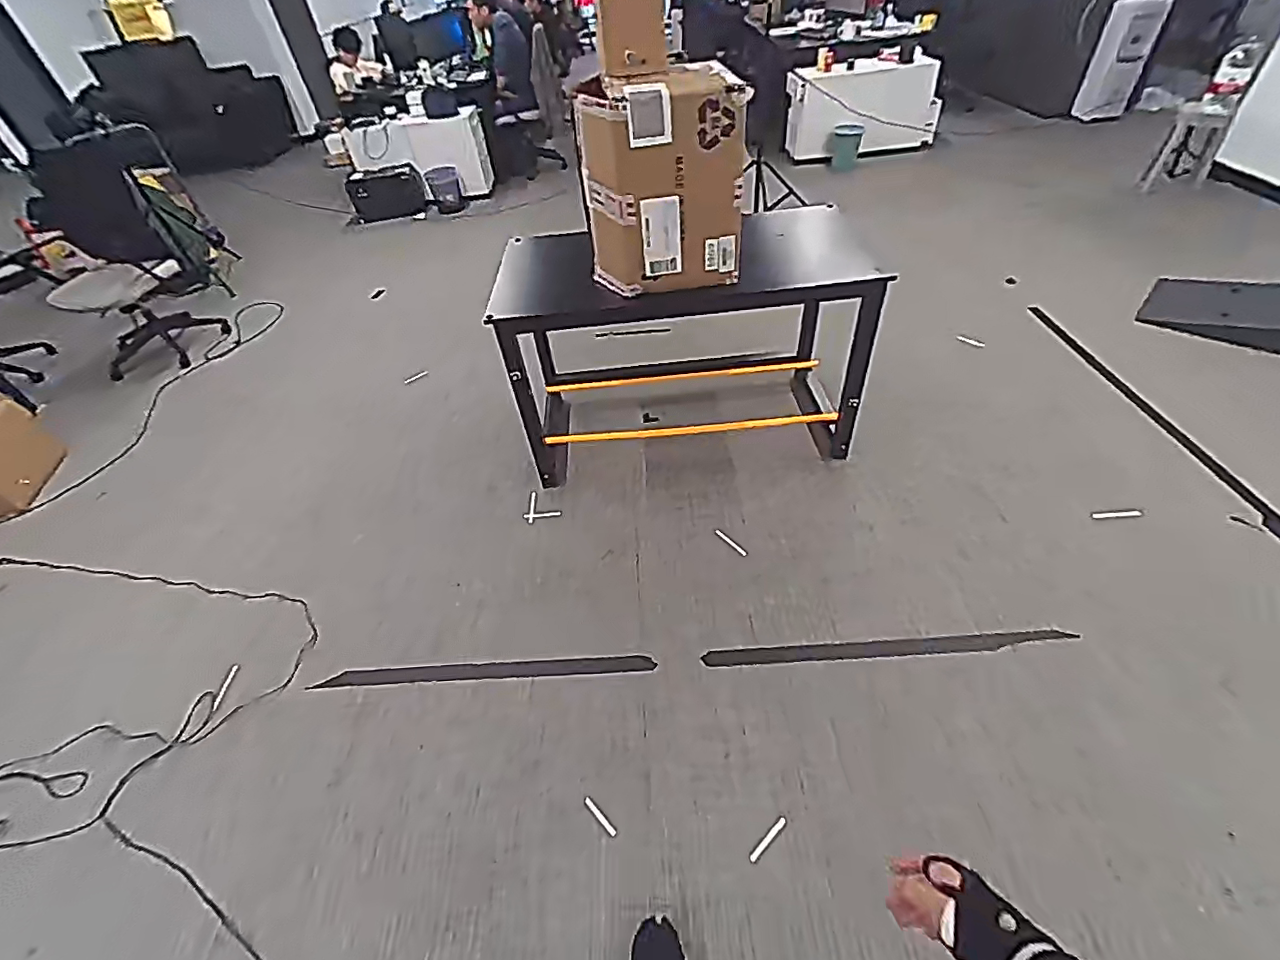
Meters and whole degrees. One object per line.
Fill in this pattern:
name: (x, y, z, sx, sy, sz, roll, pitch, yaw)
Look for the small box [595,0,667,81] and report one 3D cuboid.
small box: (-0.024, -1.174, 1.435, 0.168, 0.176, 0.179, -9, 43, -3)
